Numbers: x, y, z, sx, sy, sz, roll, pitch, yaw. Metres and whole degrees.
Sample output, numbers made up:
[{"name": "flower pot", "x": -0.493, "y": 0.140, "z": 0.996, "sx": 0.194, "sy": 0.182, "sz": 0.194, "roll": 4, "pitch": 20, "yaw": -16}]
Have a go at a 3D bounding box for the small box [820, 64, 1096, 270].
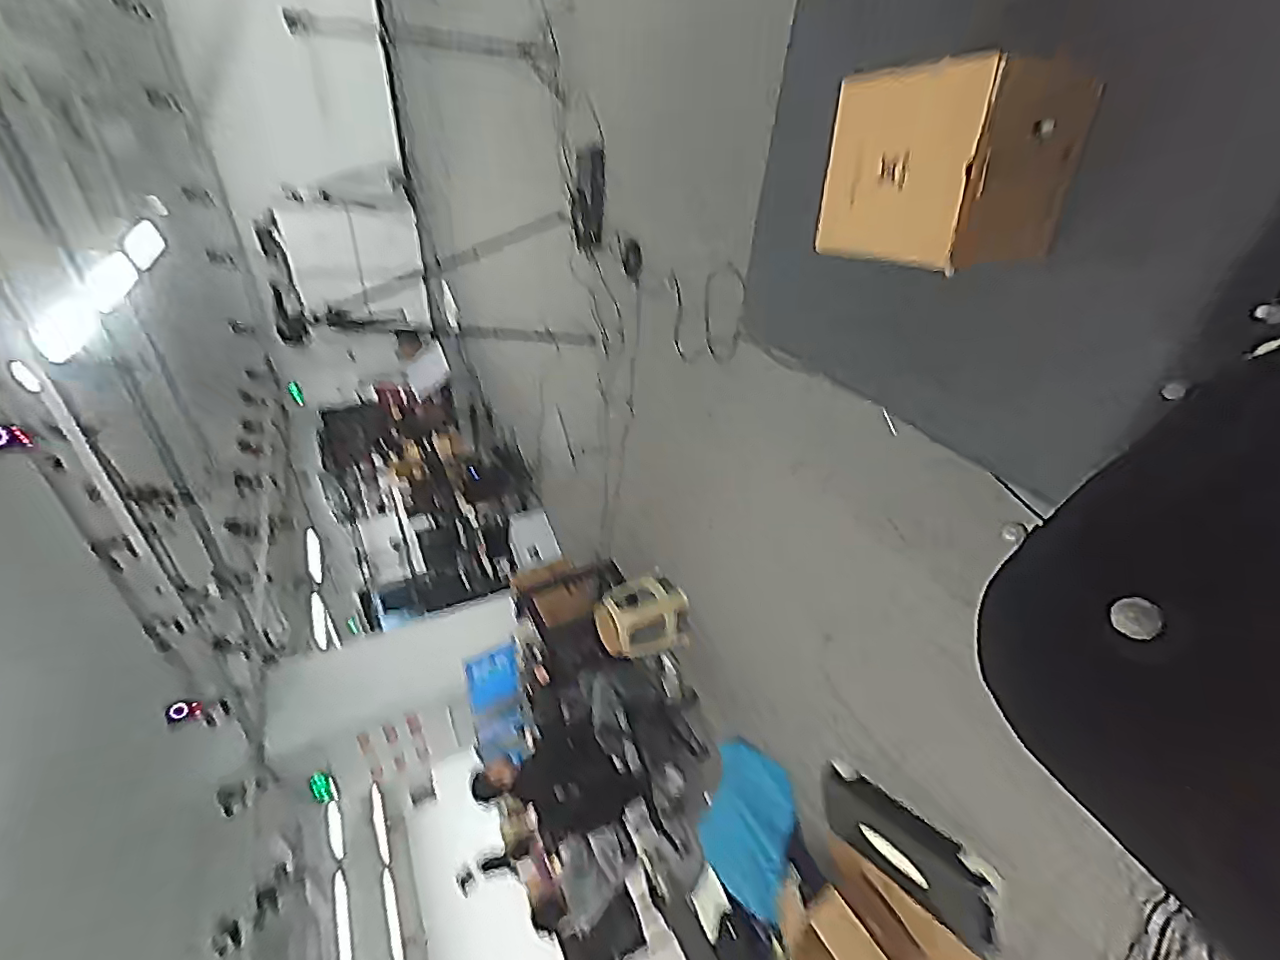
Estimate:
[{"name": "small box", "x": 0.330, "y": -0.325, "z": 0.581, "sx": 0.179, "sy": 0.176, "sz": 0.168, "roll": 42, "pitch": 137, "yaw": 52}]
